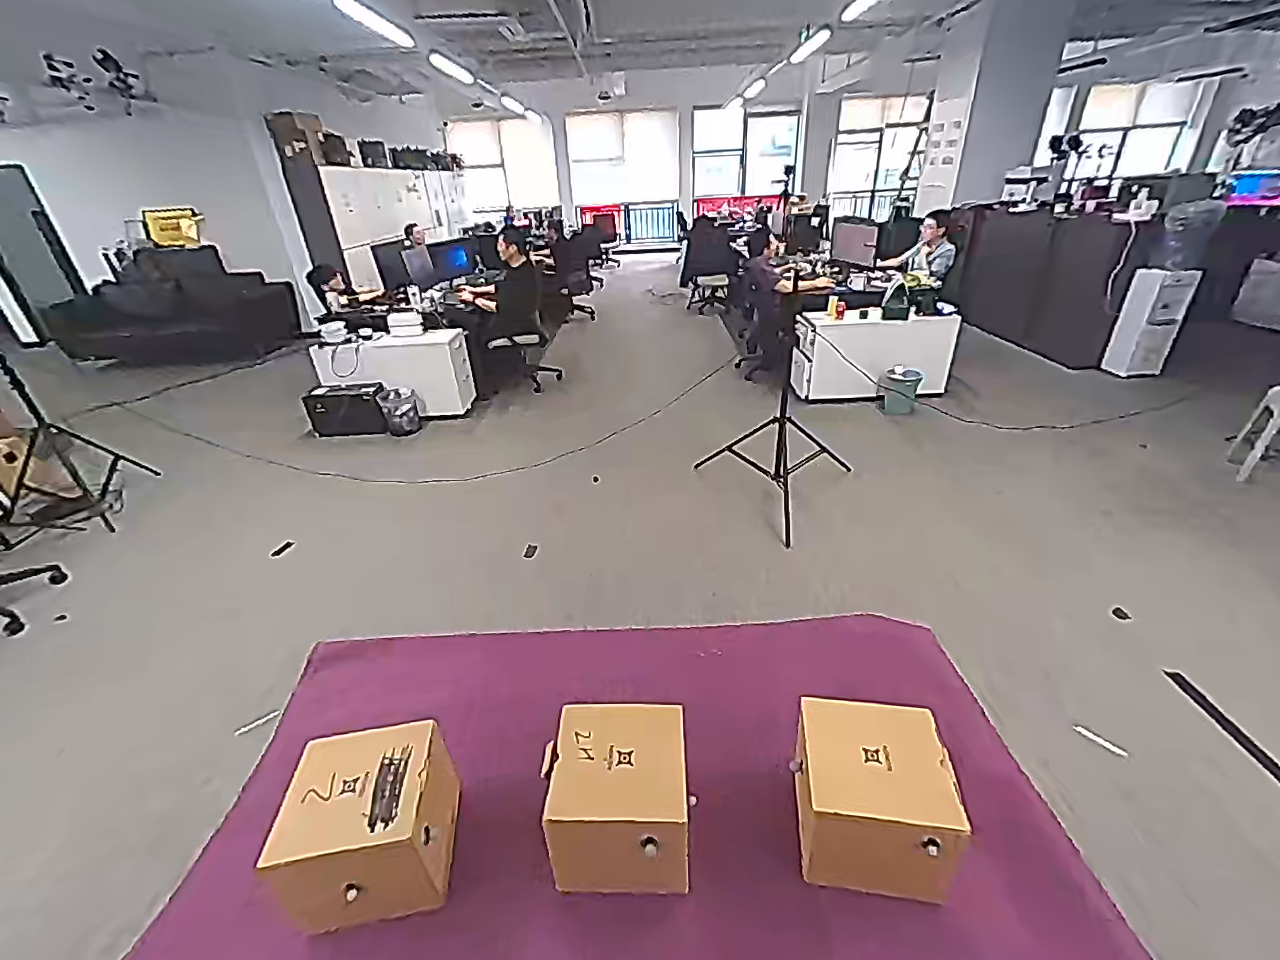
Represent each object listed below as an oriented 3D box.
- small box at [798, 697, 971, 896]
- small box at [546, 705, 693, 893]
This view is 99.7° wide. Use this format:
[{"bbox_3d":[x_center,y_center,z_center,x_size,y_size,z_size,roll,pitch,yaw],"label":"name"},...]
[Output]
[{"bbox_3d":[0.311,0.423,0.731,0.179,0.176,0.168,1,29,10],"label":"small box"},{"bbox_3d":[-0.019,0.436,0.746,0.179,0.176,0.168,-2,28,3],"label":"small box"}]
